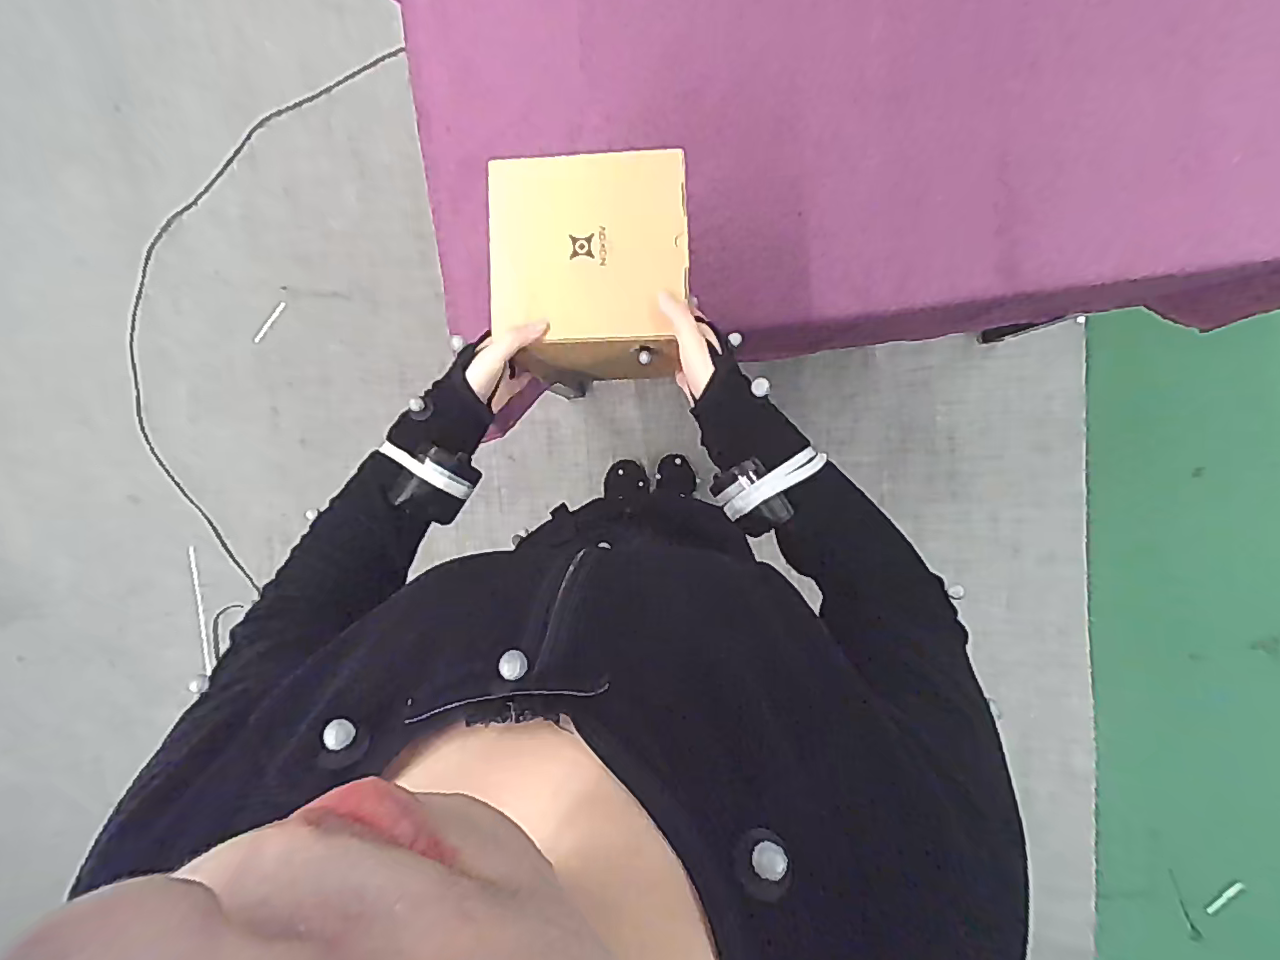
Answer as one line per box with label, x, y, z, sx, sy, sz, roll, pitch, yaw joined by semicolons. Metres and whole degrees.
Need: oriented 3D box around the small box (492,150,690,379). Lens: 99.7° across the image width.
small box;-0.038;-0.202;0.555;0.179;0.176;0.168;-1;88;4
